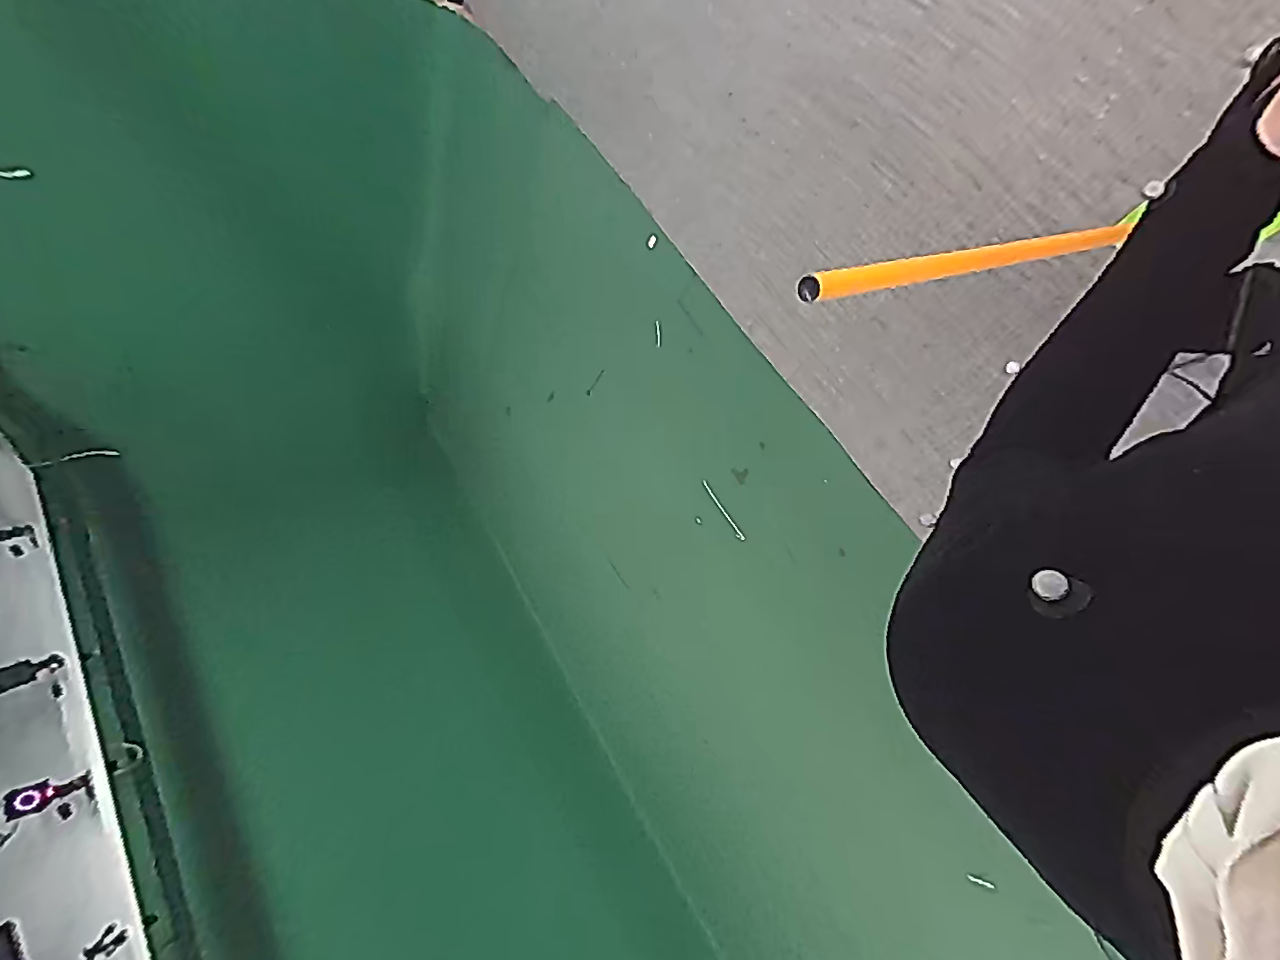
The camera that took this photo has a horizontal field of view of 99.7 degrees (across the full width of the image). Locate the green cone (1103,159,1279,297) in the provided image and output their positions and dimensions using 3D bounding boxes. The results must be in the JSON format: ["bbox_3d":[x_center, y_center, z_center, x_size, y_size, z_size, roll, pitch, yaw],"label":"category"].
[{"bbox_3d":[0.990,-0.461,1.007,0.202,0.368,0.200,56,142,16],"label":"green cone"}]
